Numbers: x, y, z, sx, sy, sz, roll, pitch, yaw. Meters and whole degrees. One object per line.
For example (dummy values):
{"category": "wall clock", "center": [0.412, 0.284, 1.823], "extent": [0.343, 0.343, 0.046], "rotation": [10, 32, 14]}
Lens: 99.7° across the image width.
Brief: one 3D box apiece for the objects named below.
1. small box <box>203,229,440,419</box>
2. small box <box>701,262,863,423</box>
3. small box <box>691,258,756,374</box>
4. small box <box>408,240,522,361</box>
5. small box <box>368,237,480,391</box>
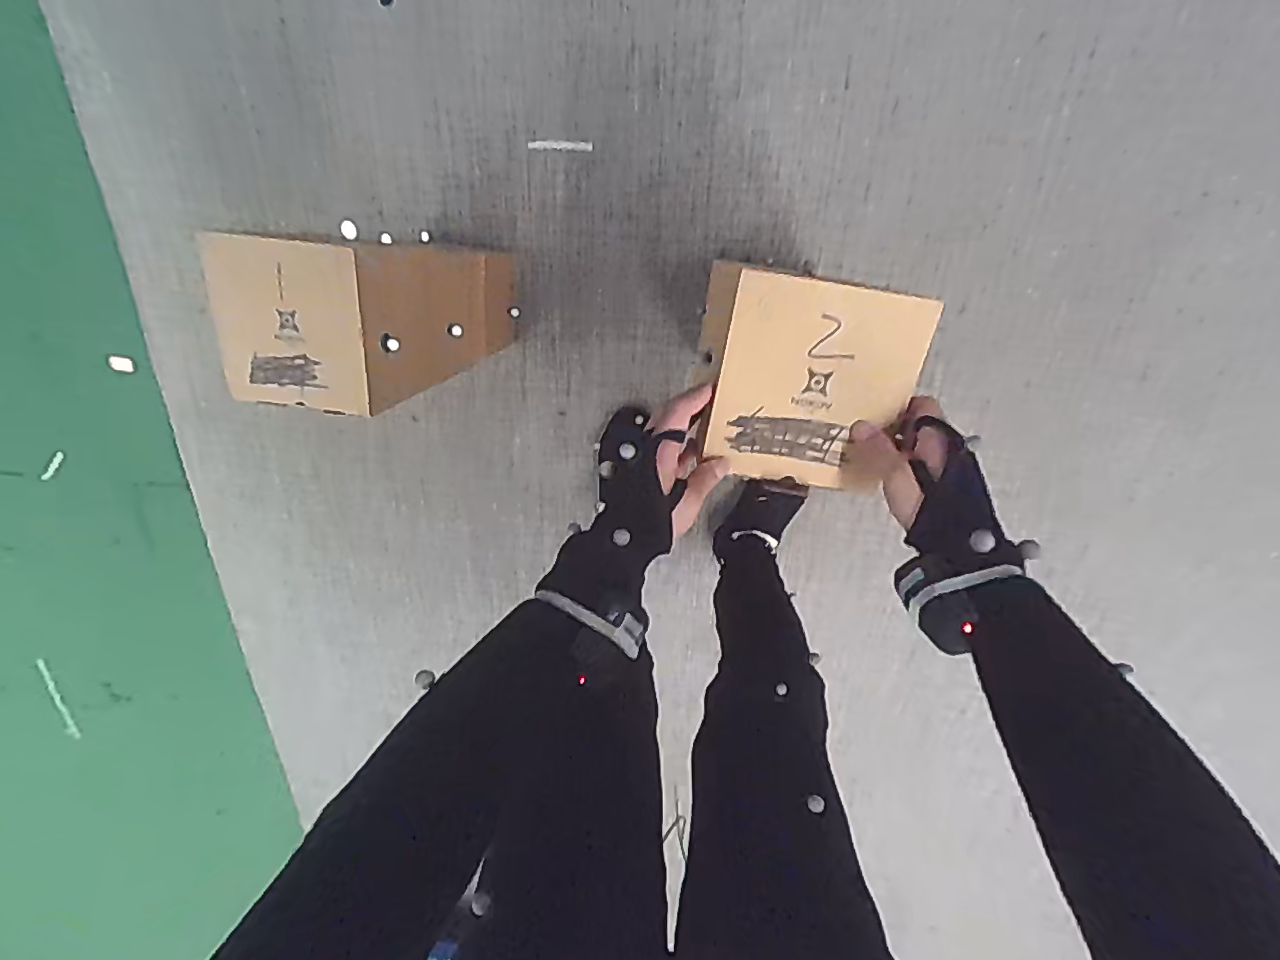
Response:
{"category": "small box", "center": [-0.349, -0.189, 0.633], "extent": [0.168, 0.176, 0.179], "rotation": [8, 114, 3]}
{"category": "small box", "center": [0.179, -0.197, 0.746], "extent": [0.168, 0.176, 0.179], "rotation": [10, 114, 2]}
{"category": "small box", "center": [0.188, -0.258, 0.894], "extent": [0.168, 0.176, 0.179], "rotation": [16, 115, 2]}
{"category": "small box", "center": [-0.318, -0.315, 0.934], "extent": [0.179, 0.176, 0.168], "rotation": [9, 115, 2]}
{"category": "small box", "center": [-0.342, -0.247, 0.787], "extent": [0.168, 0.176, 0.179], "rotation": [9, 115, 3]}
